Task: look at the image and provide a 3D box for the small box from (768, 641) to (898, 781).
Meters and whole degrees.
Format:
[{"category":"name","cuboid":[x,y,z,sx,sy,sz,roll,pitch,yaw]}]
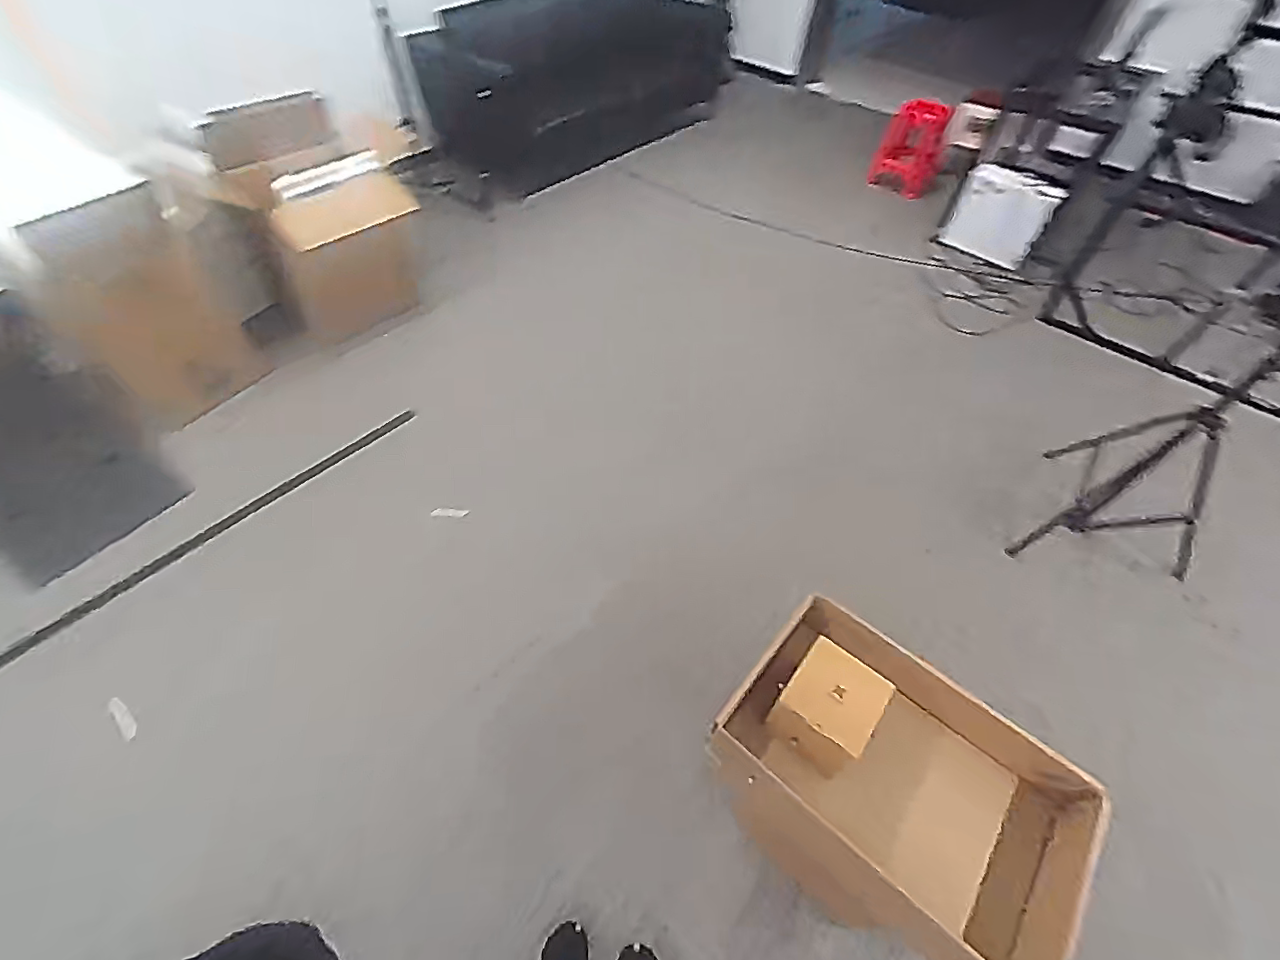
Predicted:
[{"category":"small box","cuboid":[0.382,0.470,1.098,0.168,0.176,0.179,34,57,23]}]
